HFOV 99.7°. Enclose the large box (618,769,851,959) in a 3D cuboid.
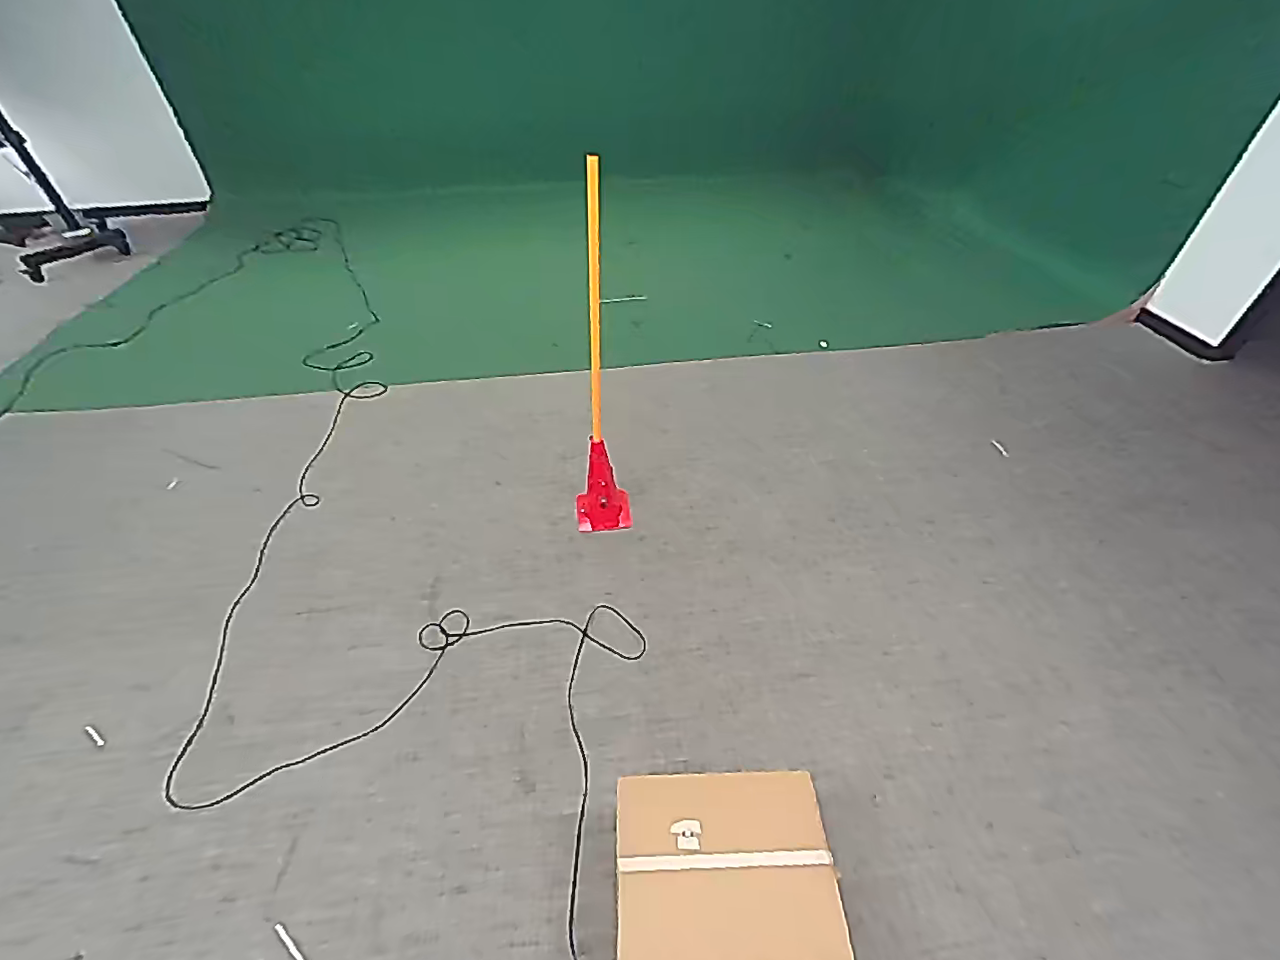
[{"bbox_3d":[0.163,0.827,1.126,0.408,0.320,0.320,-2,43,0],"label":"large box"}]
